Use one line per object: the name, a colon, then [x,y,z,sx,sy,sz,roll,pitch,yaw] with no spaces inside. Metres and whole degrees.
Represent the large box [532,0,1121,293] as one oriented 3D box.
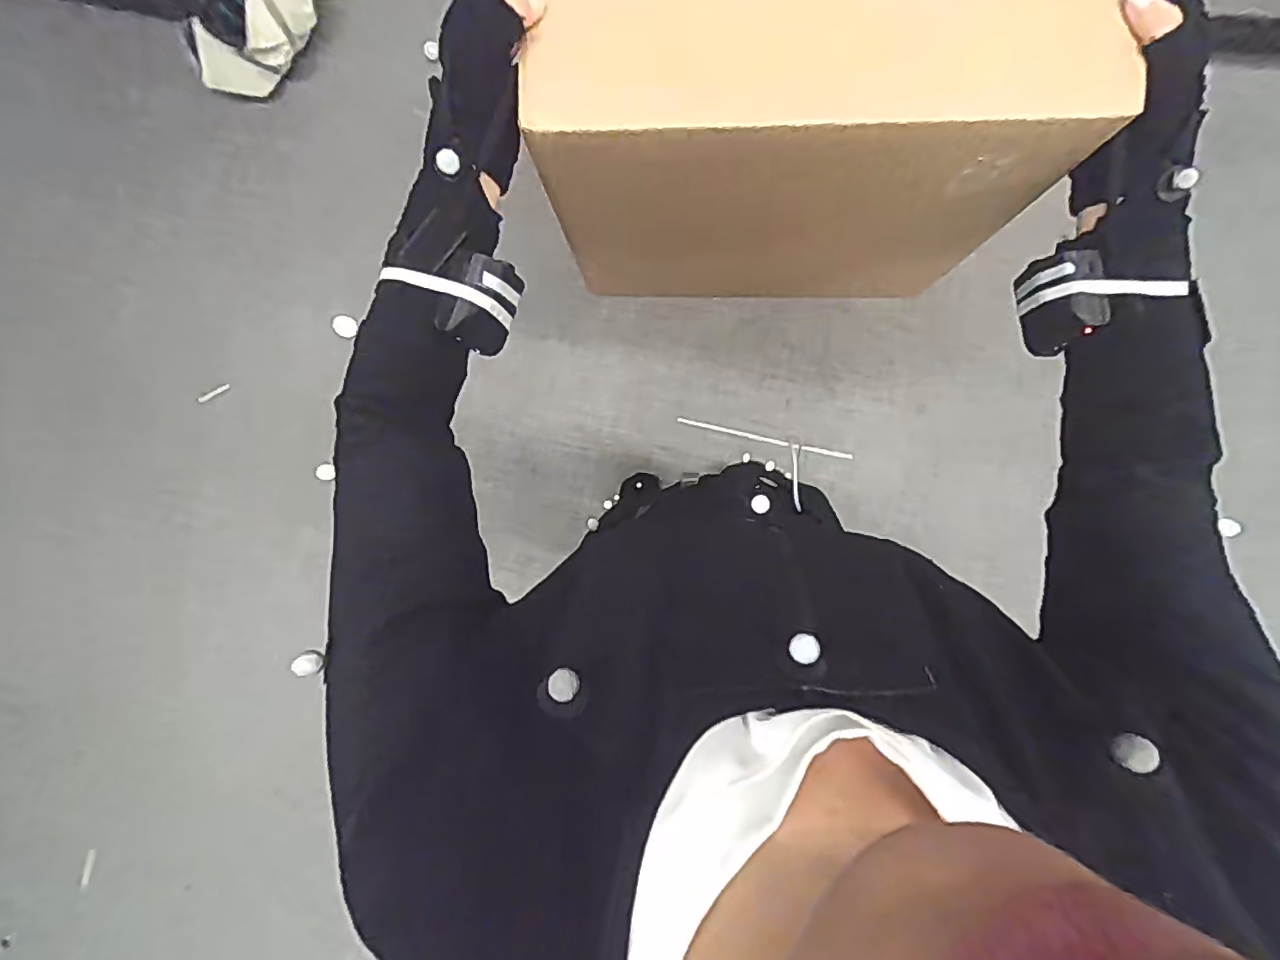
large box: [0.127,-0.392,0.522,0.408,0.320,0.320,0,88,3]
